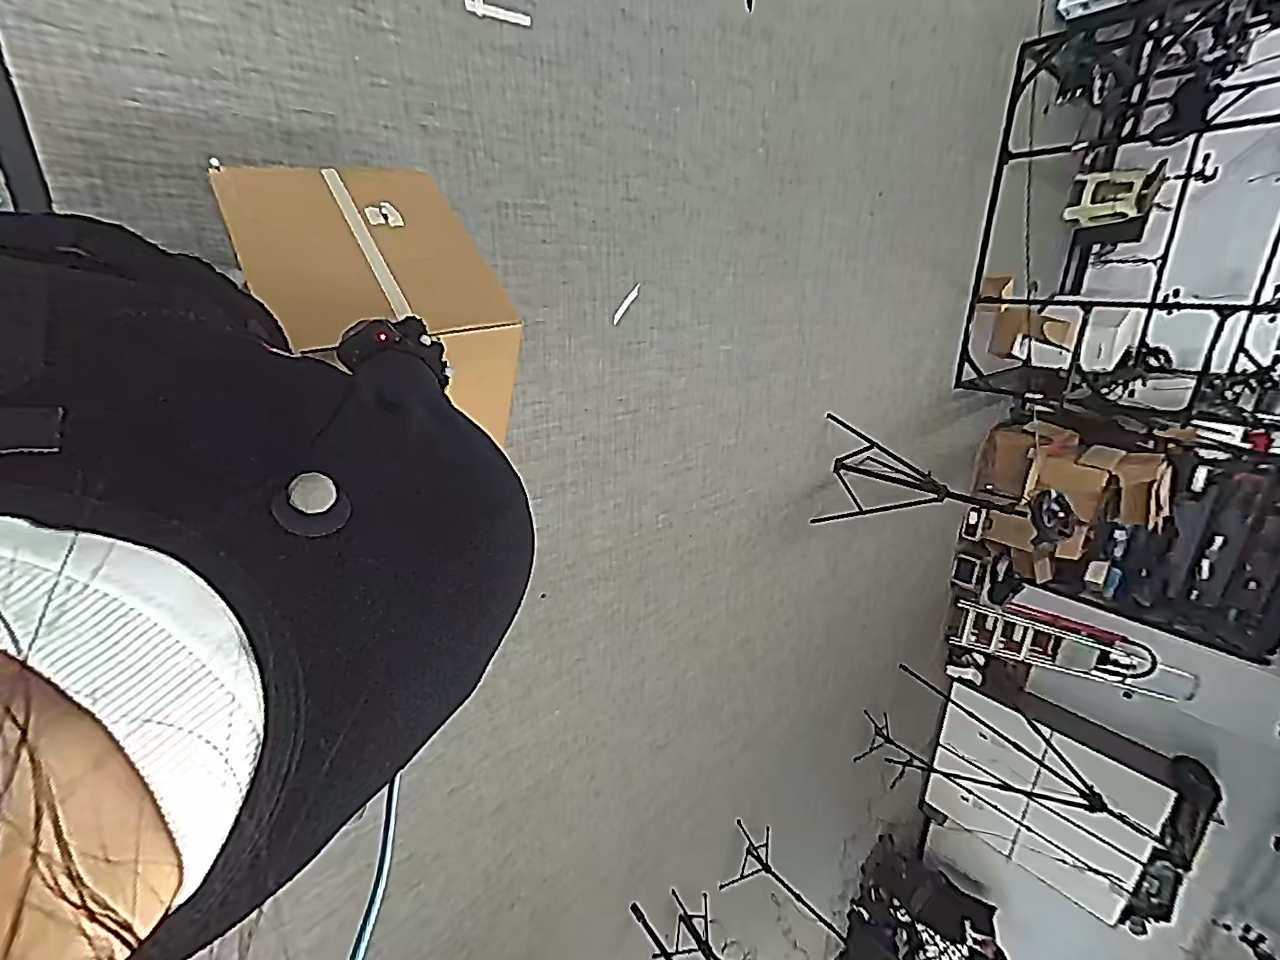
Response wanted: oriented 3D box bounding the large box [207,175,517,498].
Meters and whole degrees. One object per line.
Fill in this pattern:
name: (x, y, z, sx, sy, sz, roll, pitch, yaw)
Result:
large box: (-0.446, -0.245, 0.903, 0.320, 0.408, 0.320, -19, 152, -33)
